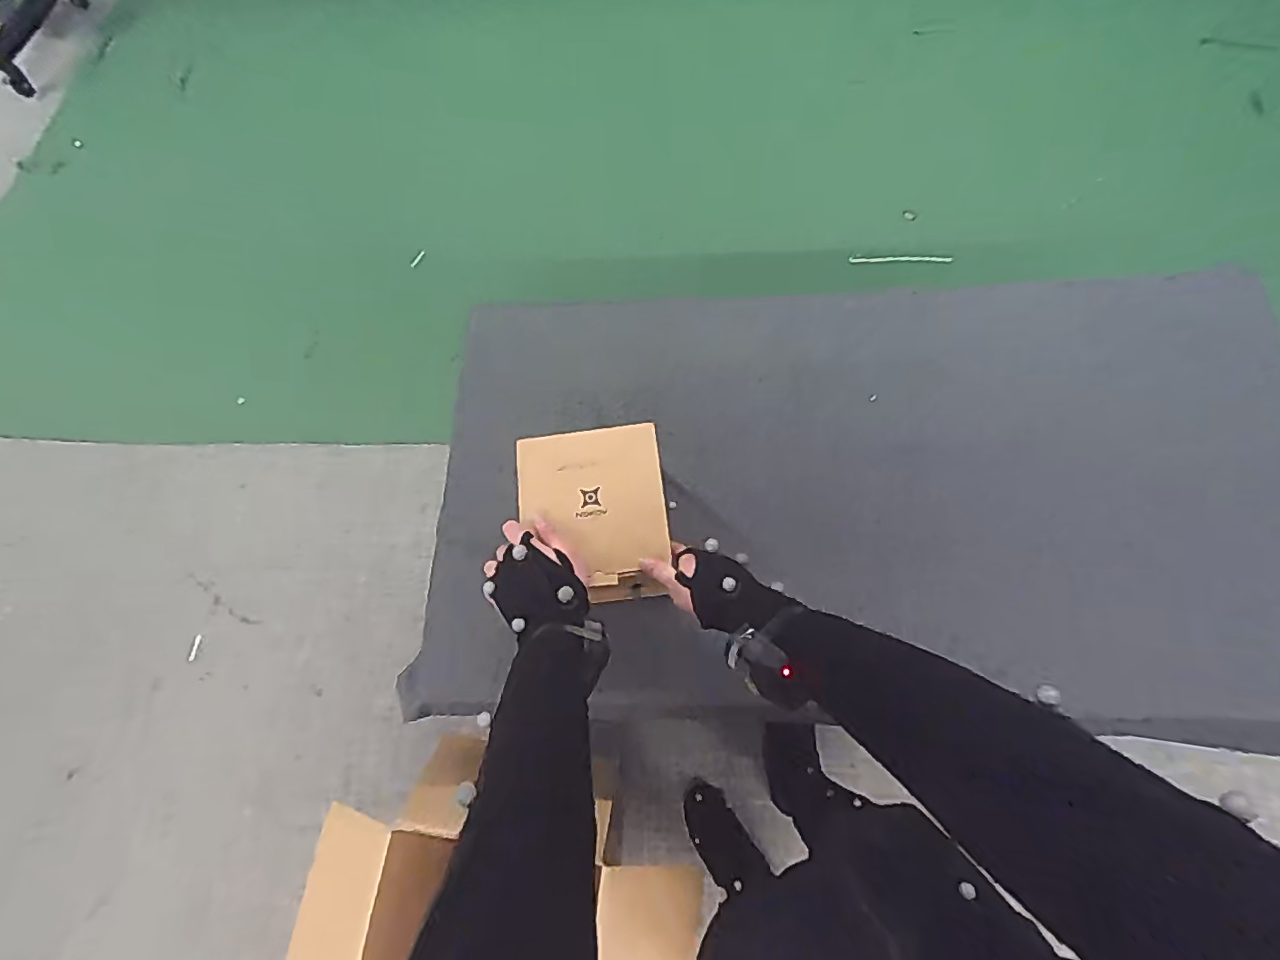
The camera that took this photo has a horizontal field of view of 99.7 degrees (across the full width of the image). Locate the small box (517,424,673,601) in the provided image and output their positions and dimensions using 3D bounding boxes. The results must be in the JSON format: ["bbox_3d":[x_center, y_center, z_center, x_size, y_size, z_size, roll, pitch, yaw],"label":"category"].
[{"bbox_3d":[-0.050,0.052,0.683,0.168,0.176,0.179,-8,69,1],"label":"small box"}]
